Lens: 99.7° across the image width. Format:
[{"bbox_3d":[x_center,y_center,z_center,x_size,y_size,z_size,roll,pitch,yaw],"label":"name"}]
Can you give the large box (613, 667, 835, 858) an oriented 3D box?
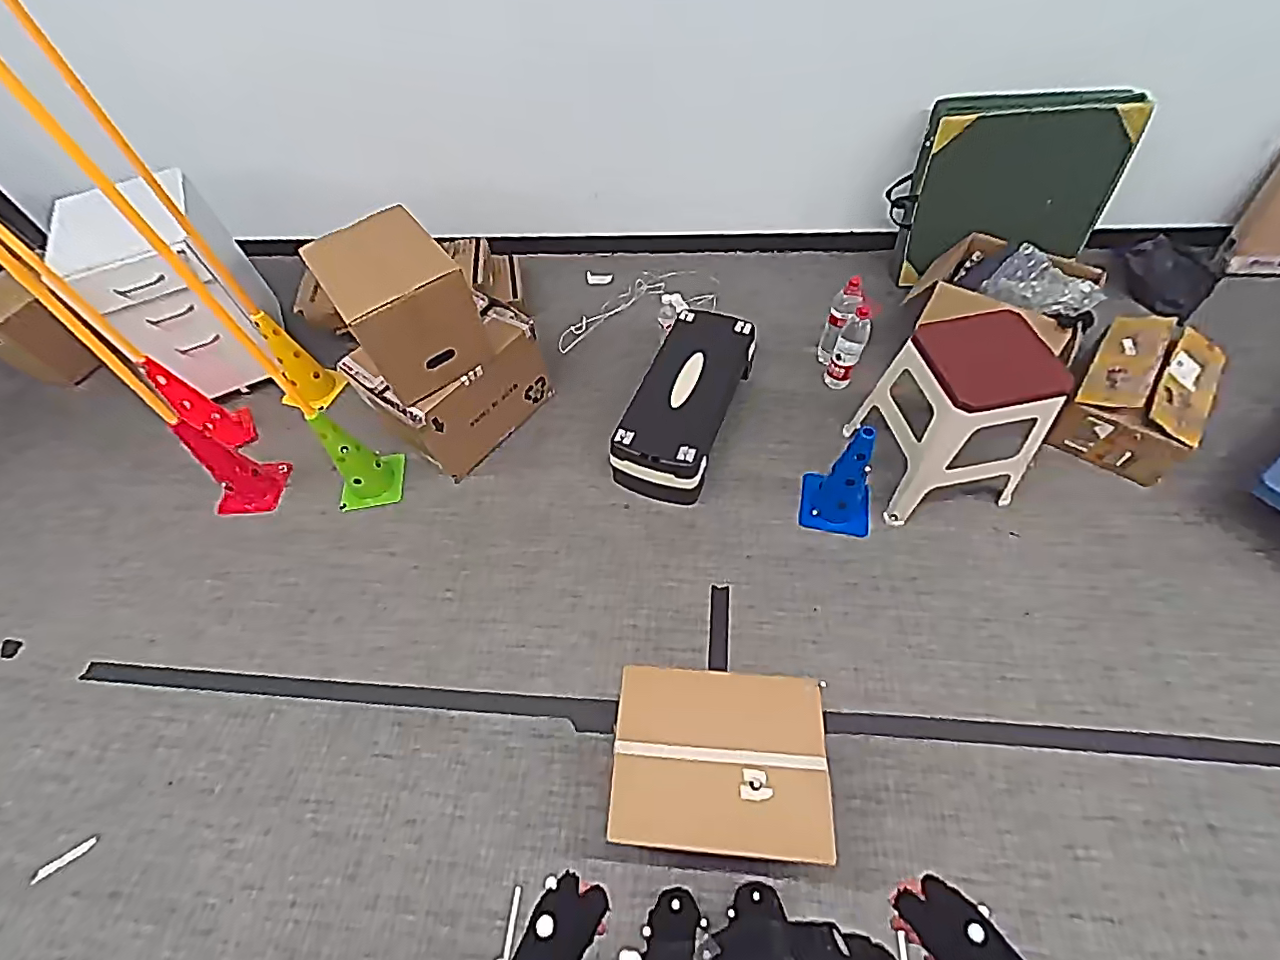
[{"bbox_3d":[0.161,0.609,1.164,0.408,0.320,0.320,2,57,5],"label":"large box"}]
